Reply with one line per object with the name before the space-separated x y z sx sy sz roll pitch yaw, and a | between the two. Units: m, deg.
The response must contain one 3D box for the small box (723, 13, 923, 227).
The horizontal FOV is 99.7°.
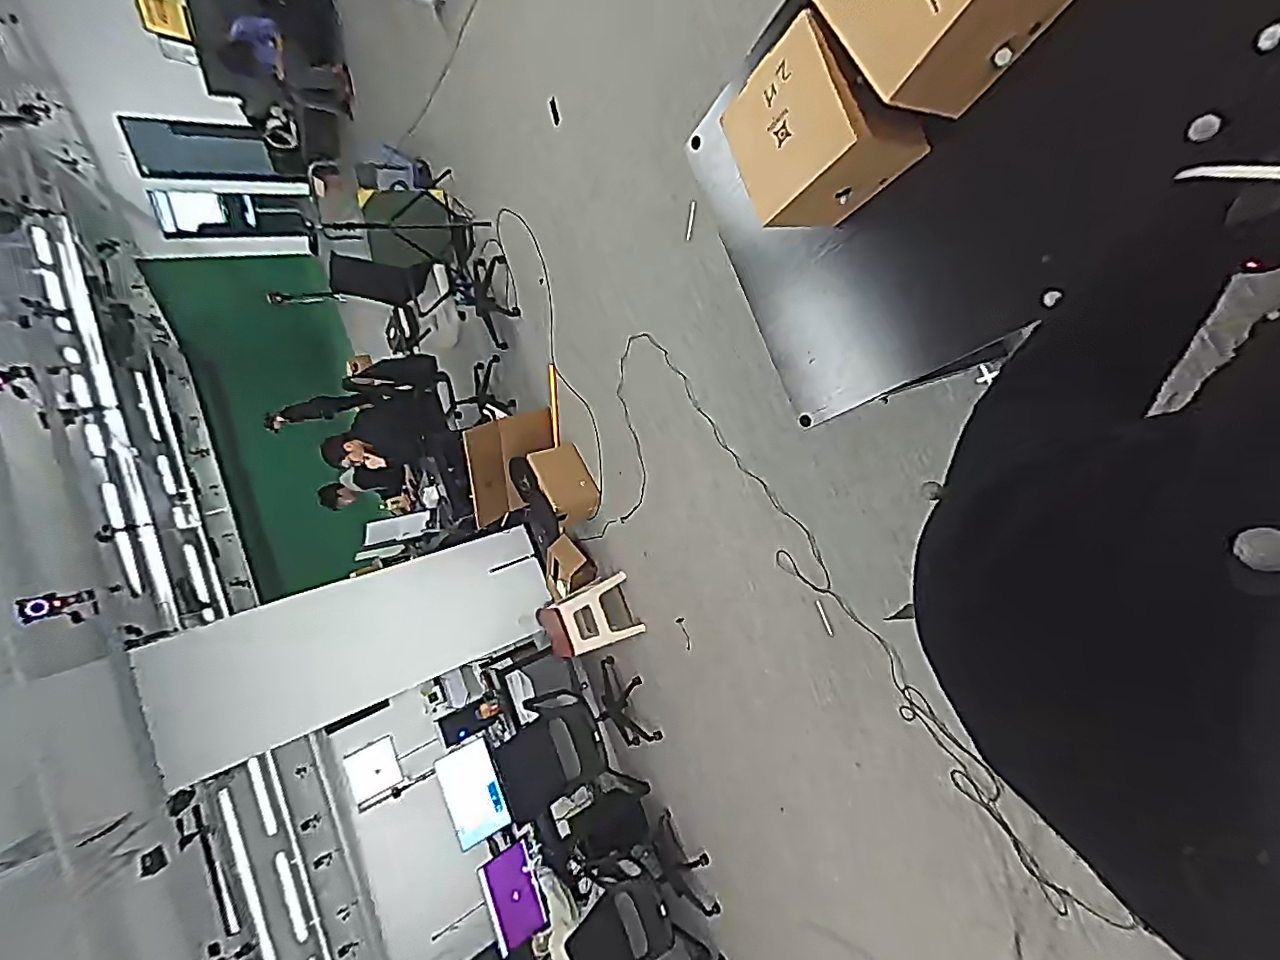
small box | 0.250 -0.475 0.740 0.168 0.176 0.179 -25 83 57
